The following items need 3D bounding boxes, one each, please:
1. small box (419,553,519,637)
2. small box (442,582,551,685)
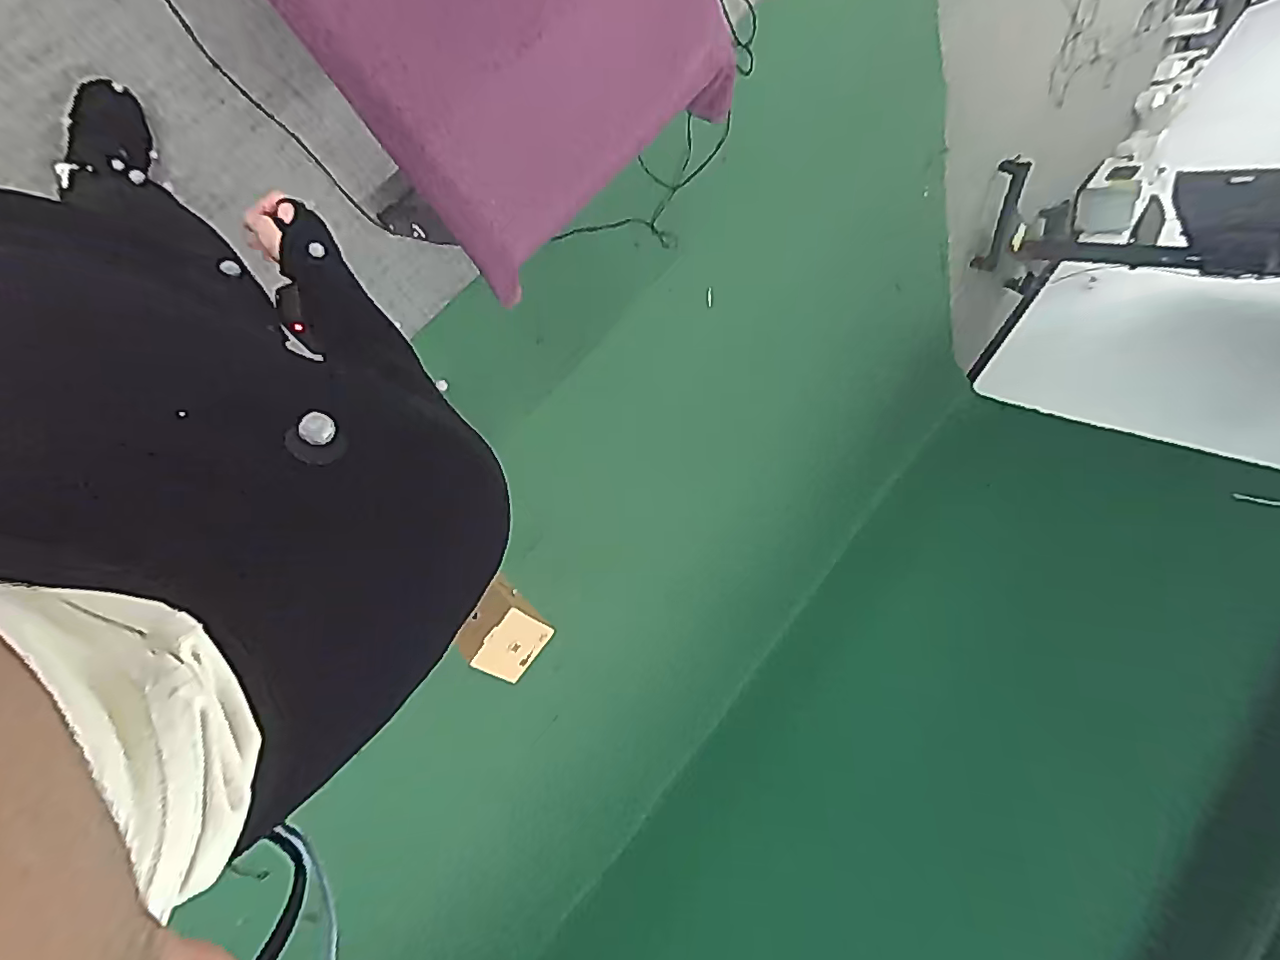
[{"bbox_3d":[-0.476,0.331,1.490,0.179,0.176,0.168,-52,135,-8],"label":"small box"},{"bbox_3d":[-0.369,0.385,1.379,0.168,0.176,0.179,-51,134,-10],"label":"small box"}]
